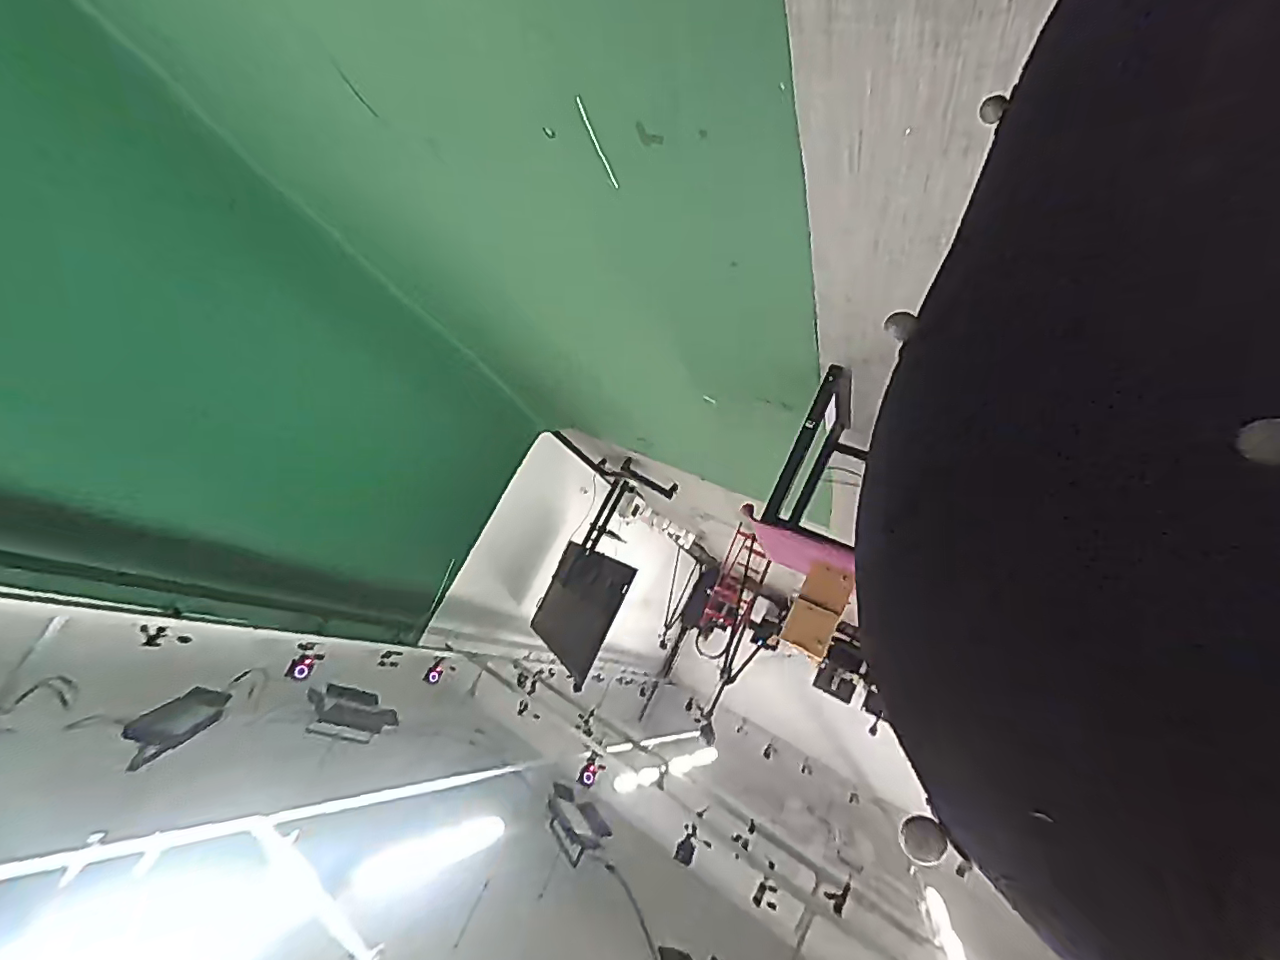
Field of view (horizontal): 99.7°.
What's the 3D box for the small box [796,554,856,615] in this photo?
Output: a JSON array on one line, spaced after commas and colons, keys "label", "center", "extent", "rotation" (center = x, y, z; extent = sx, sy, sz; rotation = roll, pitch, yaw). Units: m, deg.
[{"label": "small box", "center": [0.712, 0.399, 2.069], "extent": [0.168, 0.176, 0.179], "rotation": [25, 170, 22]}]
